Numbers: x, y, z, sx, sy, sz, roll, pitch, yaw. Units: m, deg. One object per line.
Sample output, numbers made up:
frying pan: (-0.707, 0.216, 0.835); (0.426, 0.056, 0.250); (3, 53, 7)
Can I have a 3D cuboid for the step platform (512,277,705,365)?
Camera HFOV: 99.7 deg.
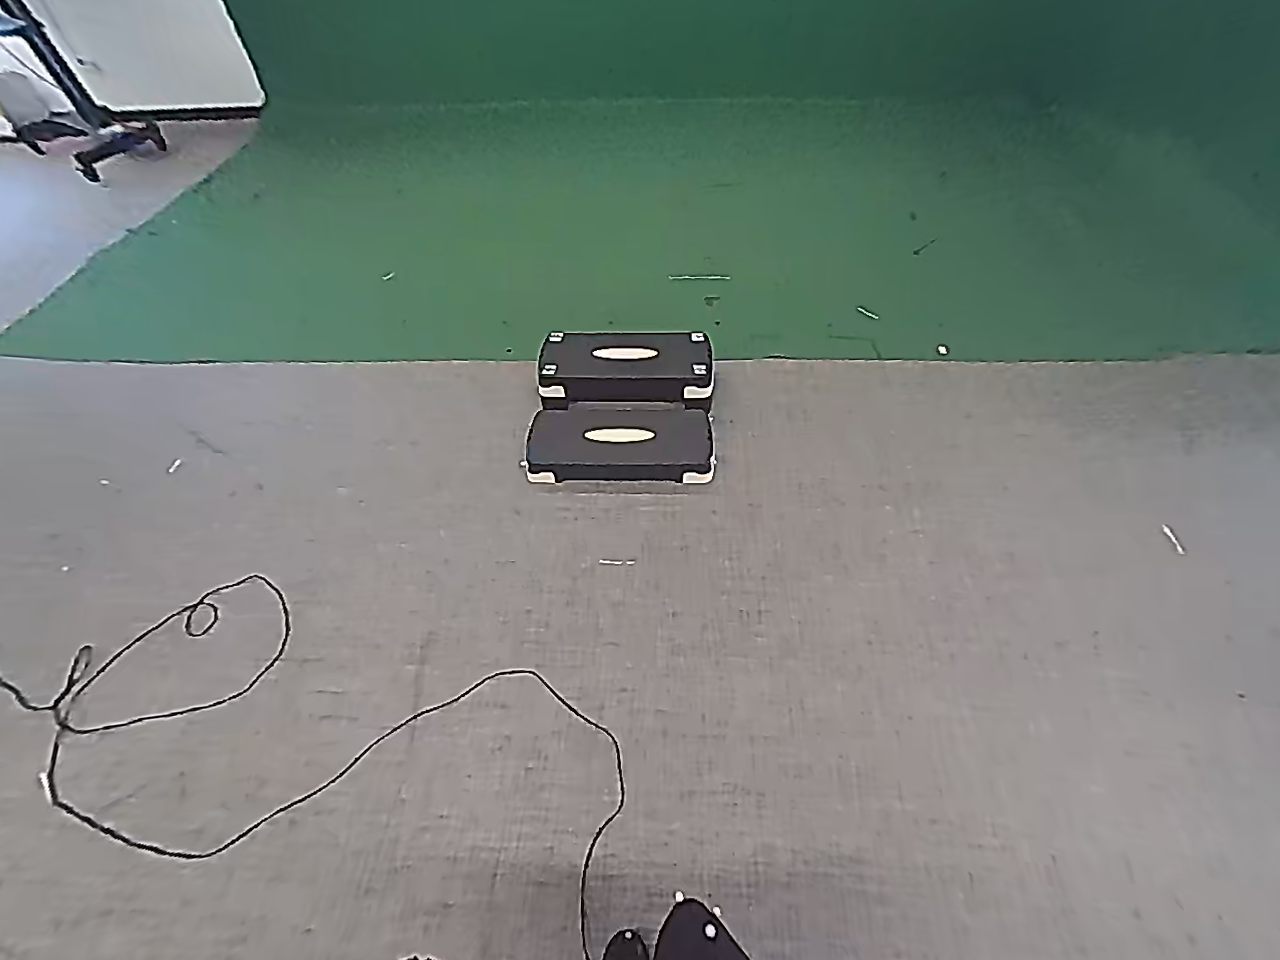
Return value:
step platform: (-0.108, -0.581, 1.989); (0.684, 0.204, 0.286); (0, 52, 3)
